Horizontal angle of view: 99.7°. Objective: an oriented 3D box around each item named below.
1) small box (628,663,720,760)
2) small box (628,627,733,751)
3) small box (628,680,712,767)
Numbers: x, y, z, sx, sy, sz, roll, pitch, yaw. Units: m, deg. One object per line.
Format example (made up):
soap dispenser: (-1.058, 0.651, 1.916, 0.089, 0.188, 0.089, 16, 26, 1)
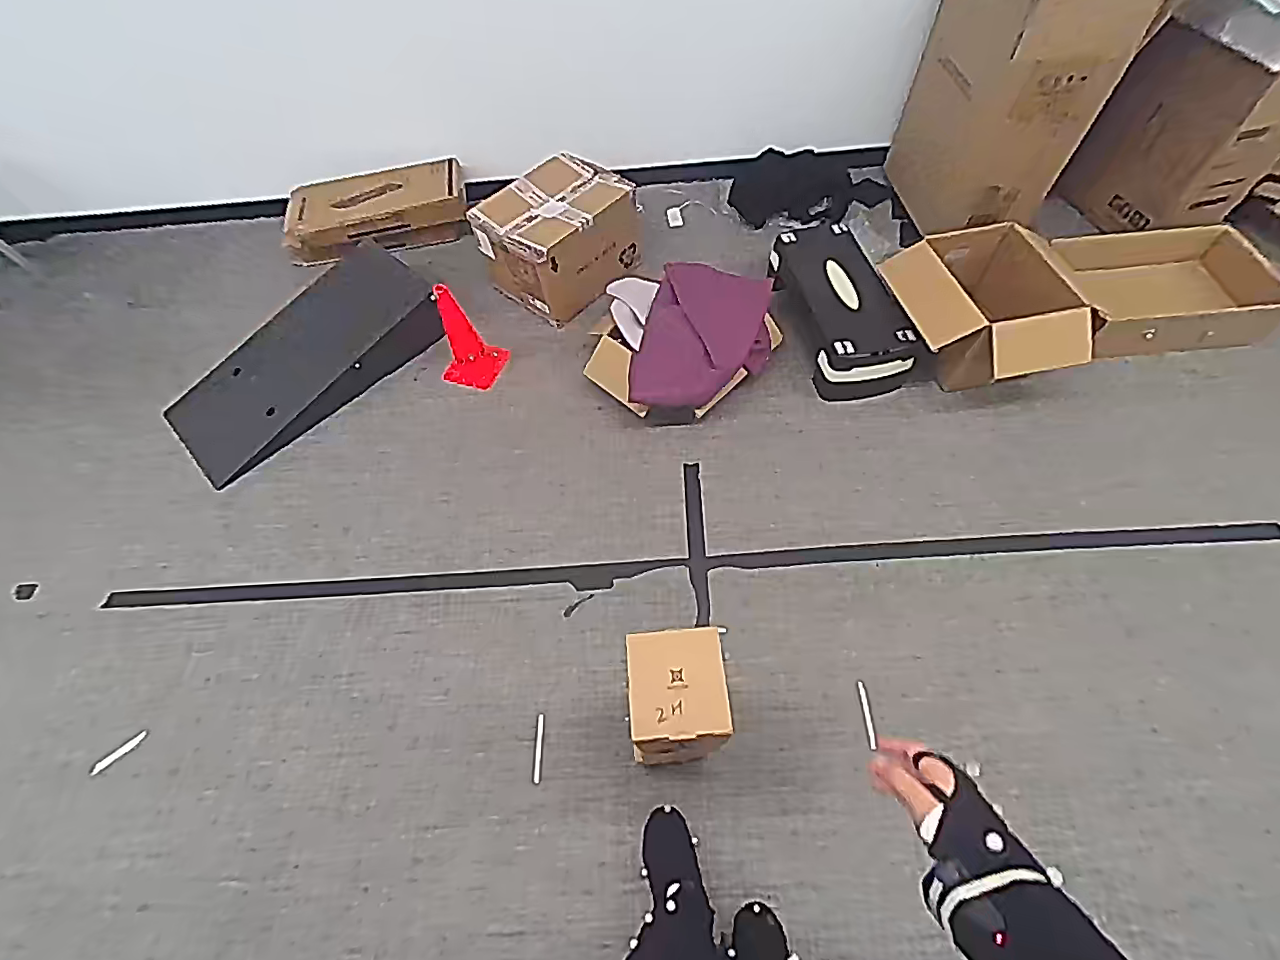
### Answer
small box: (0.074, 0.470, 1.116, 0.168, 0.176, 0.179, -10, 59, -1)
small box: (0.070, 0.380, 0.976, 0.168, 0.176, 0.179, -6, 59, 3)
small box: (0.067, 0.555, 1.257, 0.168, 0.176, 0.179, -9, 60, 0)
